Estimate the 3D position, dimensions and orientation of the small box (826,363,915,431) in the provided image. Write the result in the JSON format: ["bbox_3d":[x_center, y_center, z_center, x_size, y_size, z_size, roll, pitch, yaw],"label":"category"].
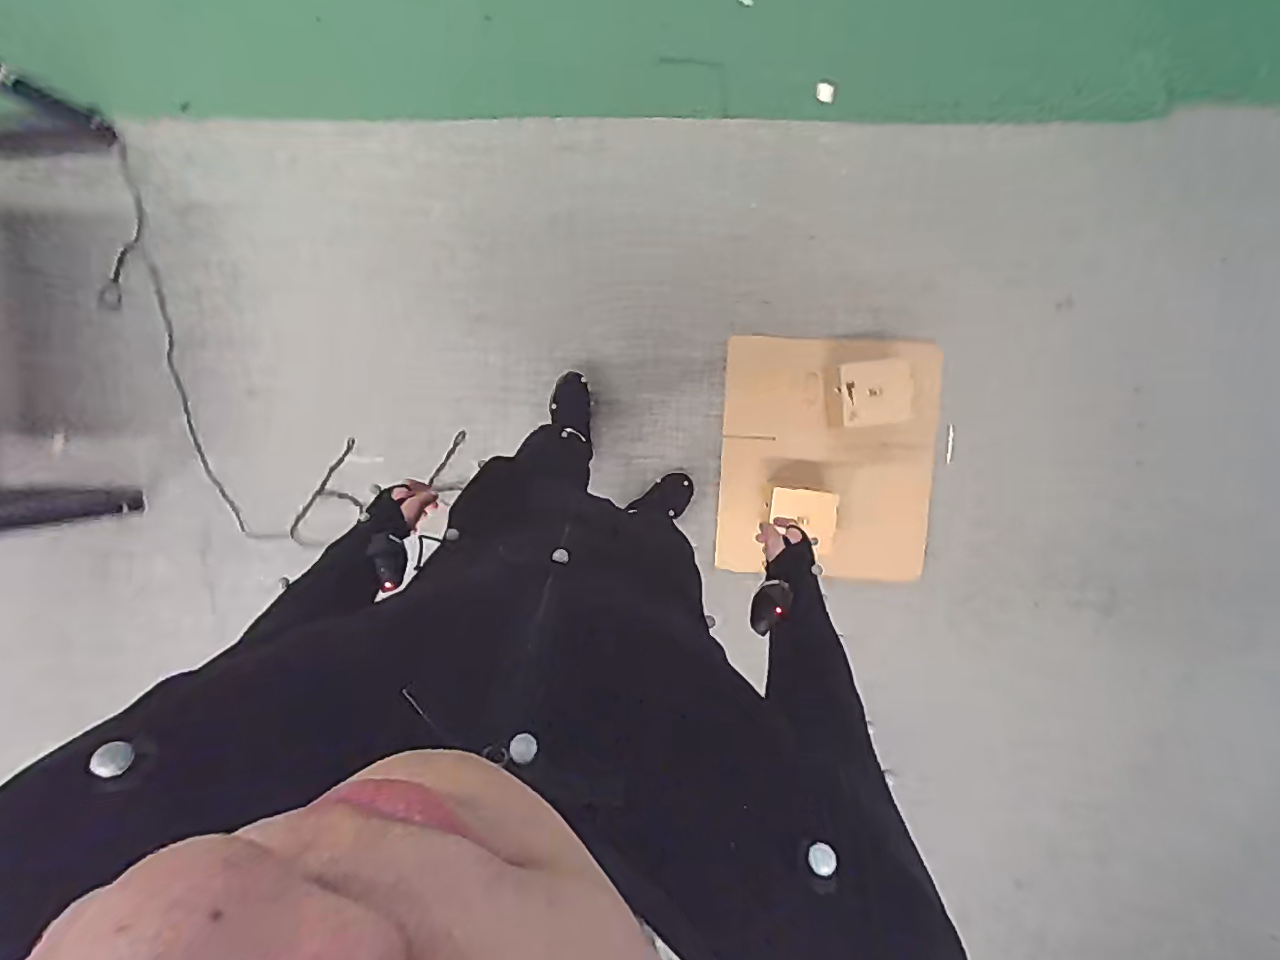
[{"bbox_3d":[0.617,-0.222,1.459,0.179,0.176,0.168,-4,96,4],"label":"small box"}]

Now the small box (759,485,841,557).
[{"bbox_3d":[0.437,0.108,1.502,0.179,0.176,0.168,7,96,2],"label":"small box"}]
